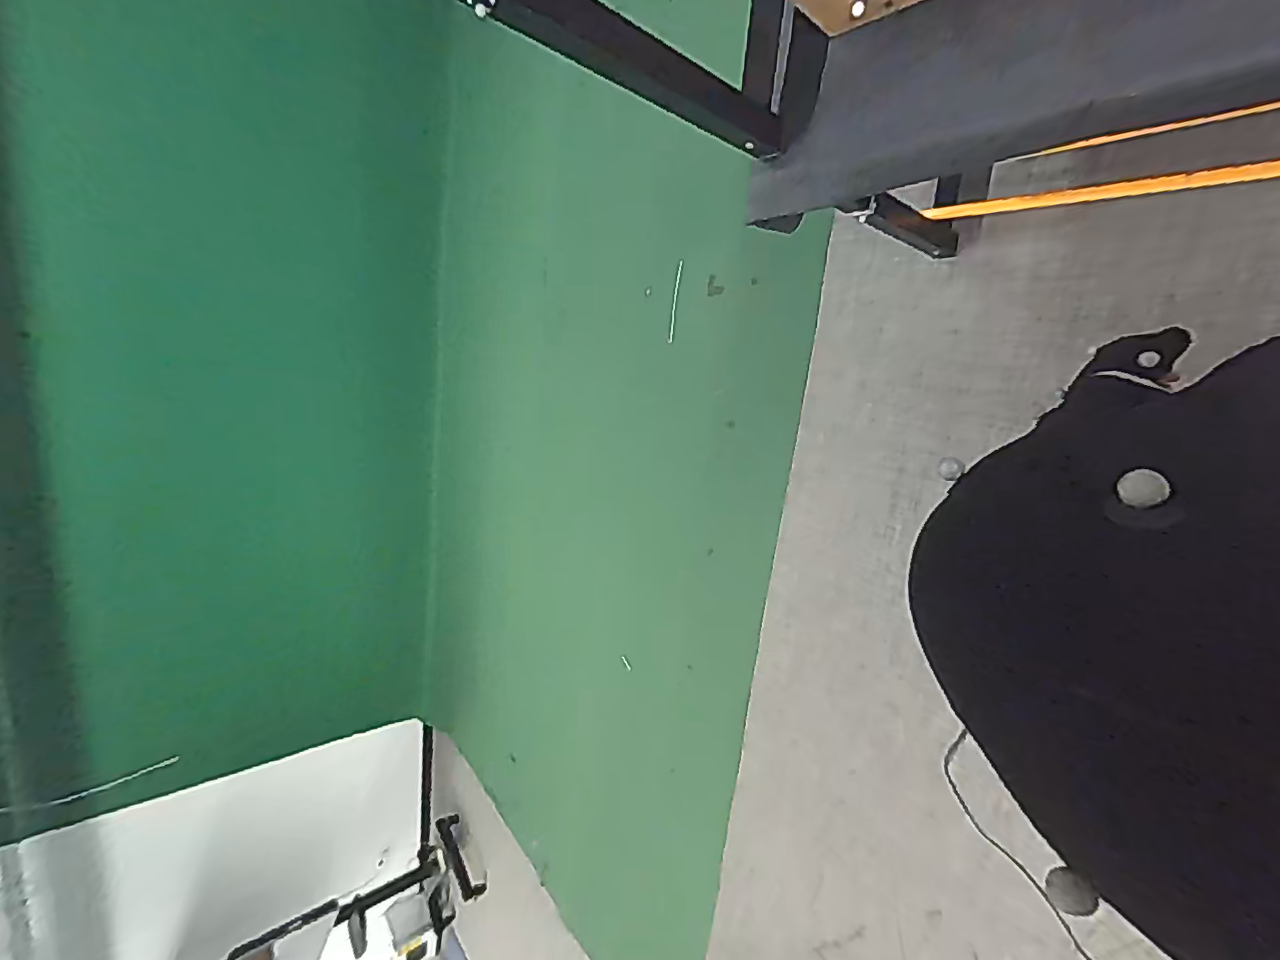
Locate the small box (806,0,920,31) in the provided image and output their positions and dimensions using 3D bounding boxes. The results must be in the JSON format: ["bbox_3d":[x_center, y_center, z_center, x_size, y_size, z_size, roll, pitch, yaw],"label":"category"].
[{"bbox_3d":[0.297,-0.751,0.709,0.168,0.176,0.179,20,109,47],"label":"small box"}]
